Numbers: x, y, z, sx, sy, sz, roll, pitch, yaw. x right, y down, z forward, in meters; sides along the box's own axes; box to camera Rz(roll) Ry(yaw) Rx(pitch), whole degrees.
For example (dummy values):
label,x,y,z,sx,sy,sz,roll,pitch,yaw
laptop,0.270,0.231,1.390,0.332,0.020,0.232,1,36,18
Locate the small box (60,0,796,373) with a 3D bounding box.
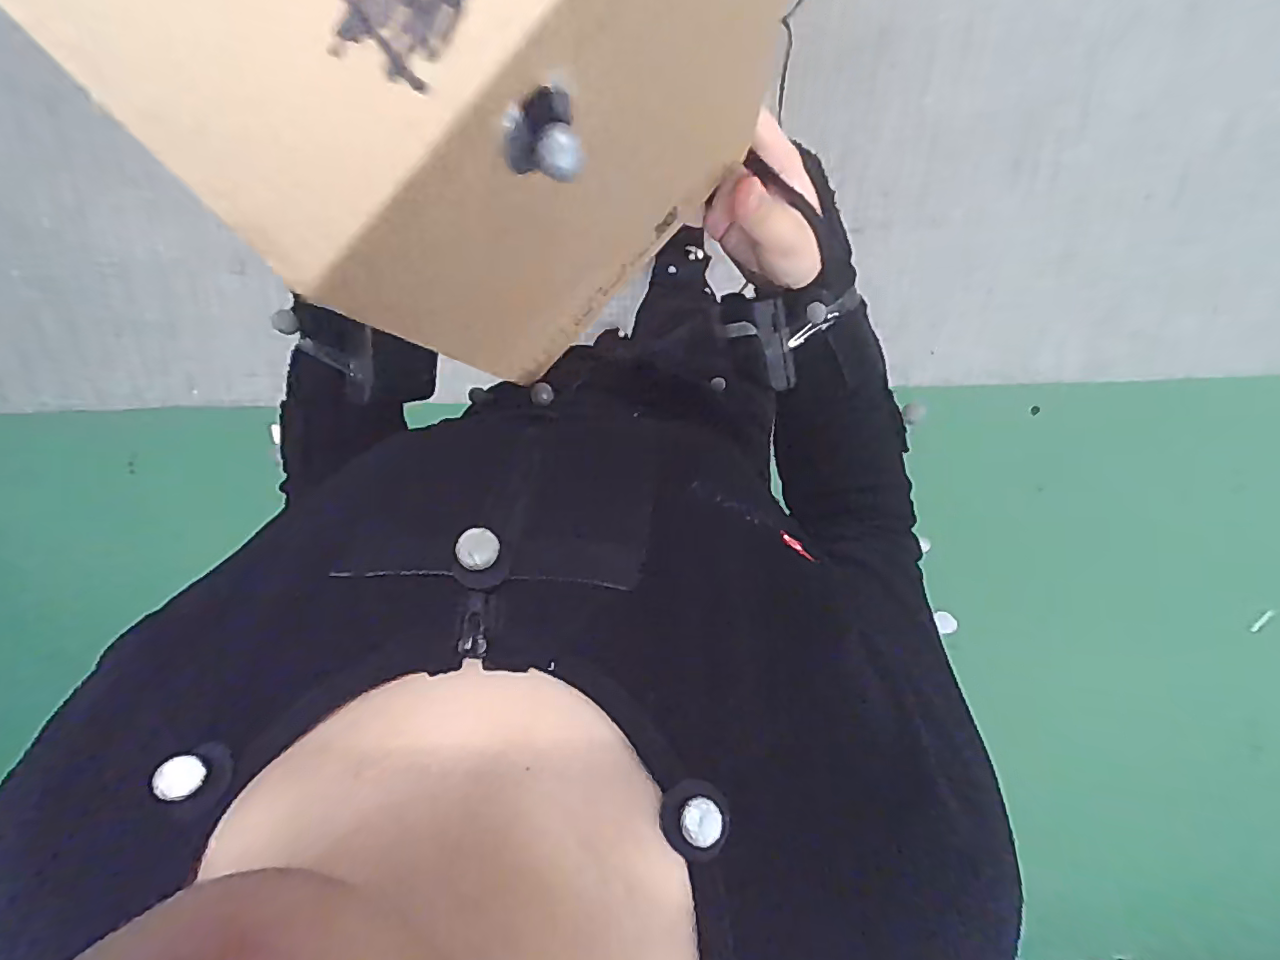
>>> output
label,x,y,z,sx,sy,sz,roll,pitch,yaw
small box,-0.062,-0.161,0.202,0.179,0.176,0.168,44,96,2
